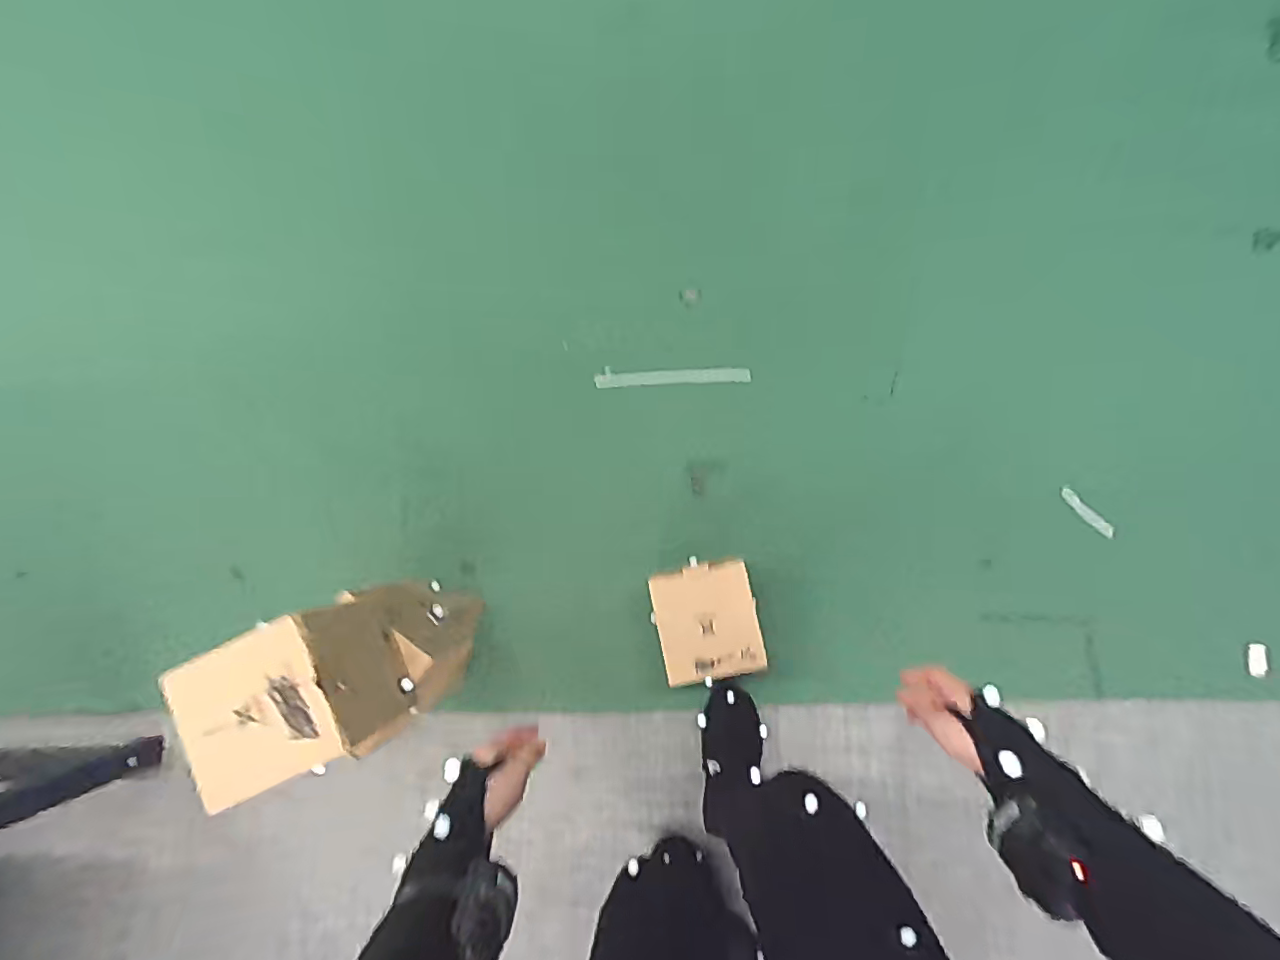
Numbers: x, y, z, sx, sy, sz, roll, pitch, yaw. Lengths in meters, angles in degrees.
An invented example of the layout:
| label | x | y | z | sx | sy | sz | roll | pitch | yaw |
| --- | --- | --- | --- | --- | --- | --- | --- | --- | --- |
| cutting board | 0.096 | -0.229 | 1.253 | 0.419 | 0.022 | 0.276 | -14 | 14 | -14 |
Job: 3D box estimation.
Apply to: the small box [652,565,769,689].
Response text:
| label | x | y | z | sx | sy | sz | roll | pitch | yaw |
| --- | --- | --- | --- | --- | --- | --- | --- | --- | --- |
| small box | 0.117 | 0.252 | 0.963 | 0.168 | 0.176 | 0.179 | -12 | 82 | 2 |

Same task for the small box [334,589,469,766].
| label | x | y | z | sx | sy | sz | roll | pitch | yaw |
| --- | --- | --- | --- | --- | --- | --- | --- | --- | --- |
| small box | -0.396 | 0.289 | 0.835 | 0.168 | 0.176 | 0.179 | 35 | 86 | 6 |

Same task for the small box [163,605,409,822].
| label | x | y | z | sx | sy | sz | roll | pitch | yaw |
| --- | --- | --- | --- | --- | --- | --- | --- | --- | --- |
| small box | -0.417 | 0.270 | 0.672 | 0.179 | 0.176 | 0.168 | -25 | 83 | 2 |

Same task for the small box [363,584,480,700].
| label | x | y | z | sx | sy | sz | roll | pitch | yaw |
| --- | --- | --- | --- | --- | --- | --- | --- | --- | --- |
| small box | -0.416 | 0.301 | 0.999 | 0.168 | 0.176 | 0.179 | 14 | 84 | 4 |
